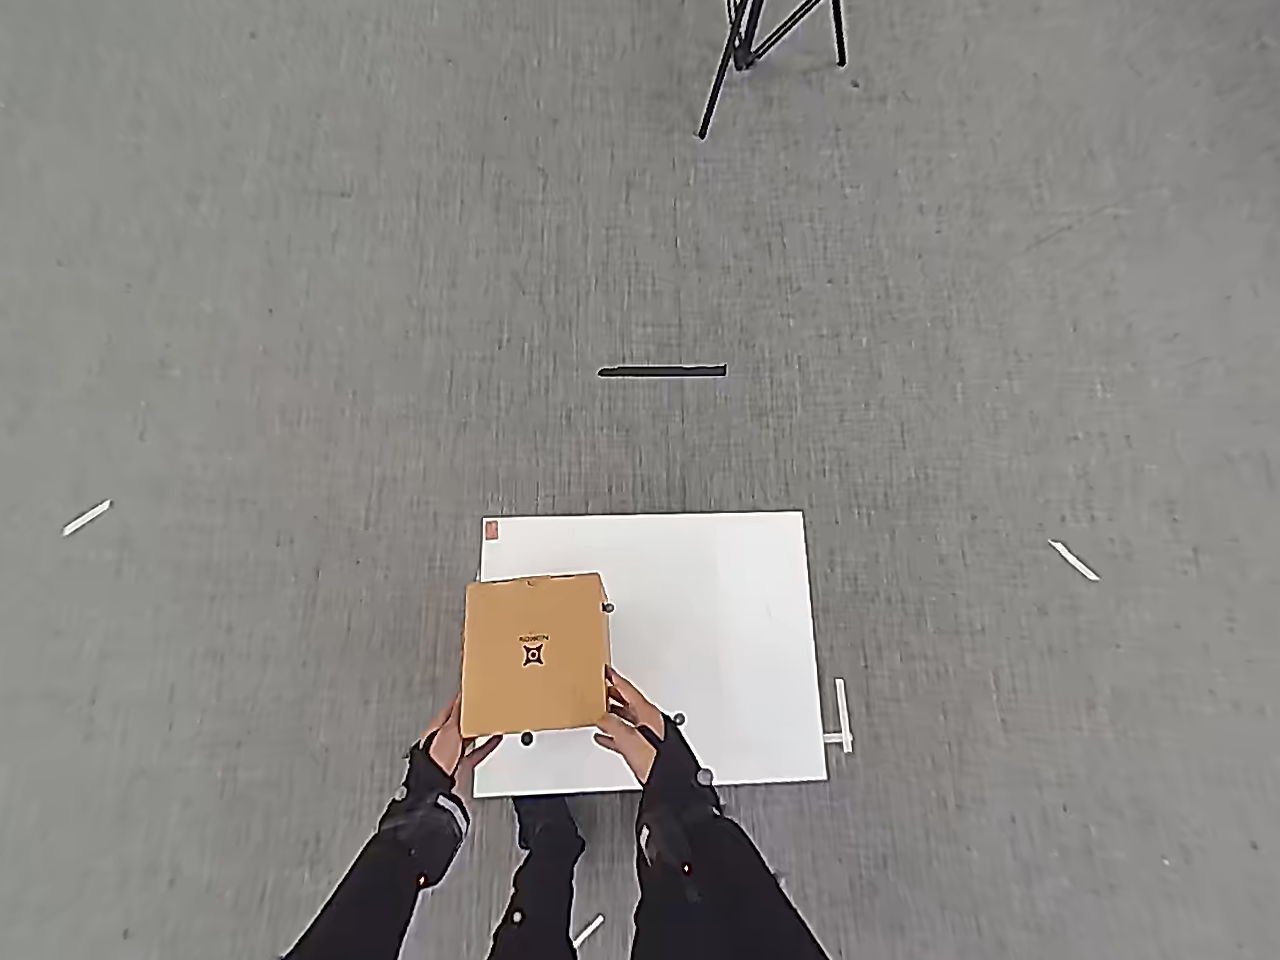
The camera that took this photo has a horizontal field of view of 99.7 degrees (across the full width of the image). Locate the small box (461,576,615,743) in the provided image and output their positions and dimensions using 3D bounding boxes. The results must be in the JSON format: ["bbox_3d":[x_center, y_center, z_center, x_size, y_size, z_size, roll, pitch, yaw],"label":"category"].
[{"bbox_3d":[-0.122,0.234,0.702,0.168,0.176,0.179,-5,66,-1],"label":"small box"}]
